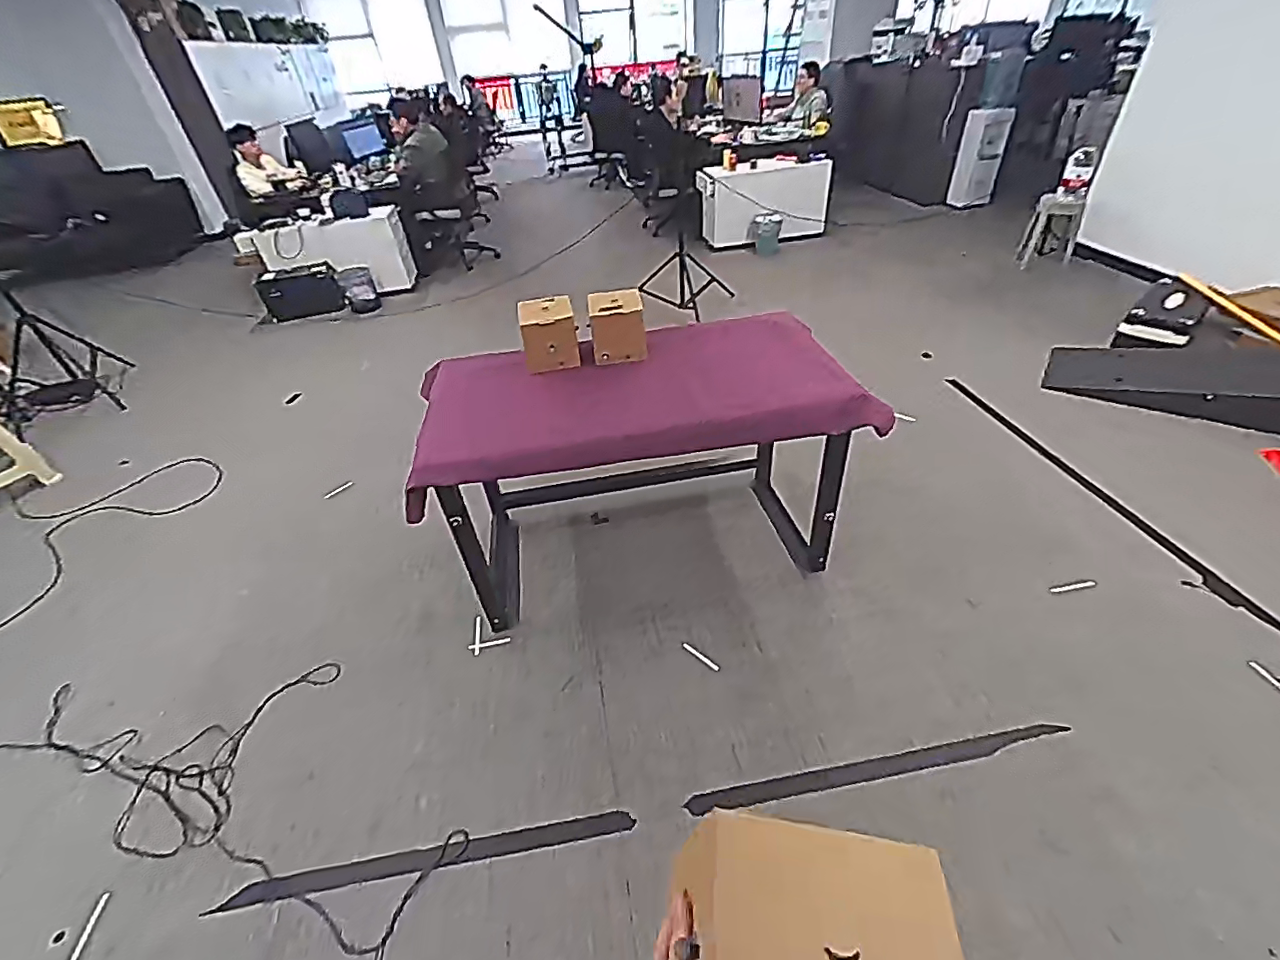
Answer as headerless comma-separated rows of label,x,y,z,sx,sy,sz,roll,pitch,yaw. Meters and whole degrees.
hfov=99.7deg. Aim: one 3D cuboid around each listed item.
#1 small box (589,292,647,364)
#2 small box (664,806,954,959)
small box,-0.070,-0.482,1.733,0.168,0.176,0.179,-7,40,-2
small box,0.107,0.366,0.383,0.168,0.176,0.179,10,43,-1
